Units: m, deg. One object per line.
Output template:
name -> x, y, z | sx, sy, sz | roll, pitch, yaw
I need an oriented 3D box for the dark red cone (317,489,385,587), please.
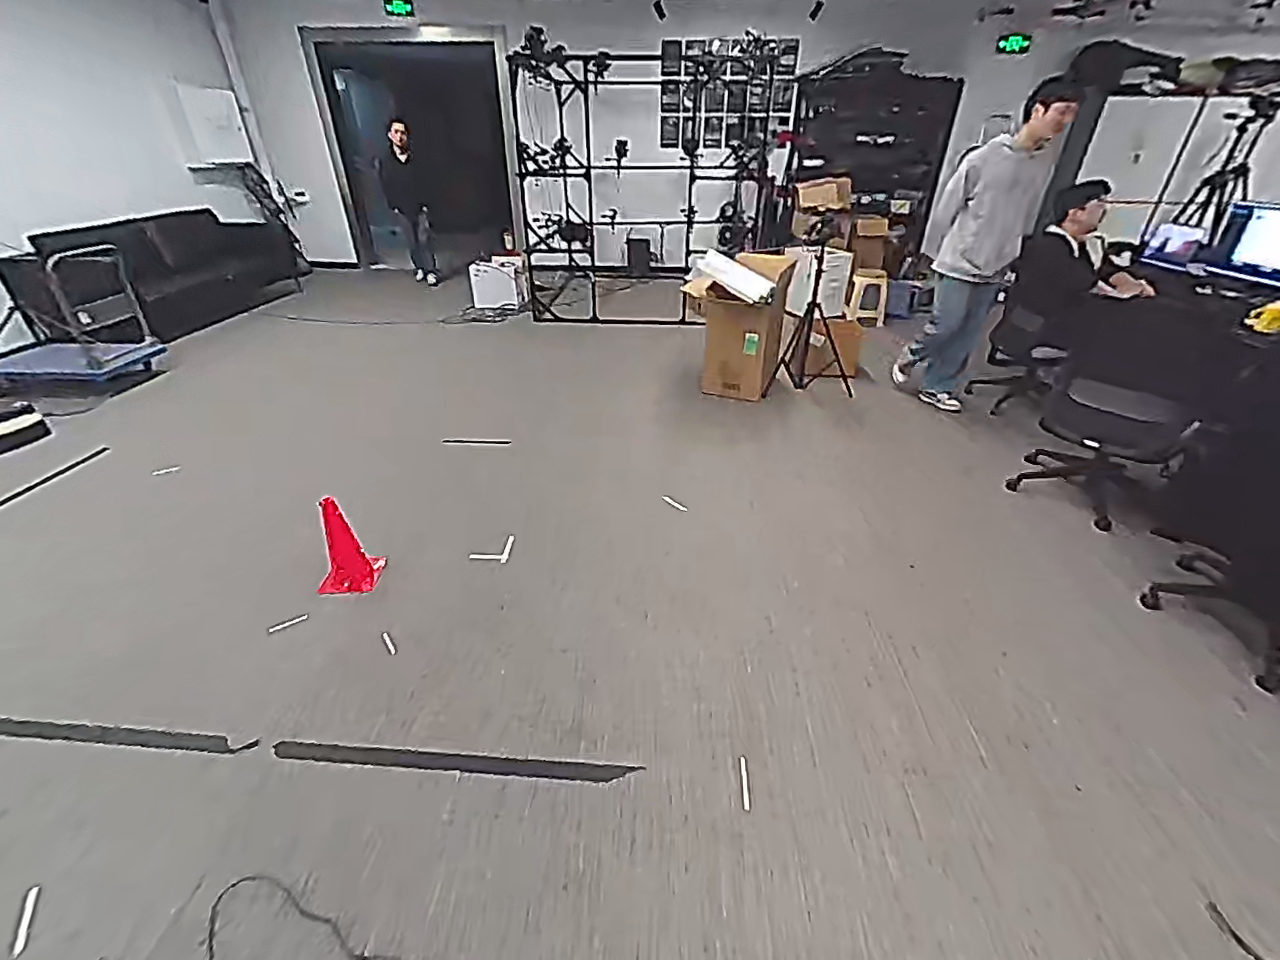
dark red cone -> -1.108, 0.204, 2.000 | 0.202, 0.394, 0.201 | -2, 32, -3
